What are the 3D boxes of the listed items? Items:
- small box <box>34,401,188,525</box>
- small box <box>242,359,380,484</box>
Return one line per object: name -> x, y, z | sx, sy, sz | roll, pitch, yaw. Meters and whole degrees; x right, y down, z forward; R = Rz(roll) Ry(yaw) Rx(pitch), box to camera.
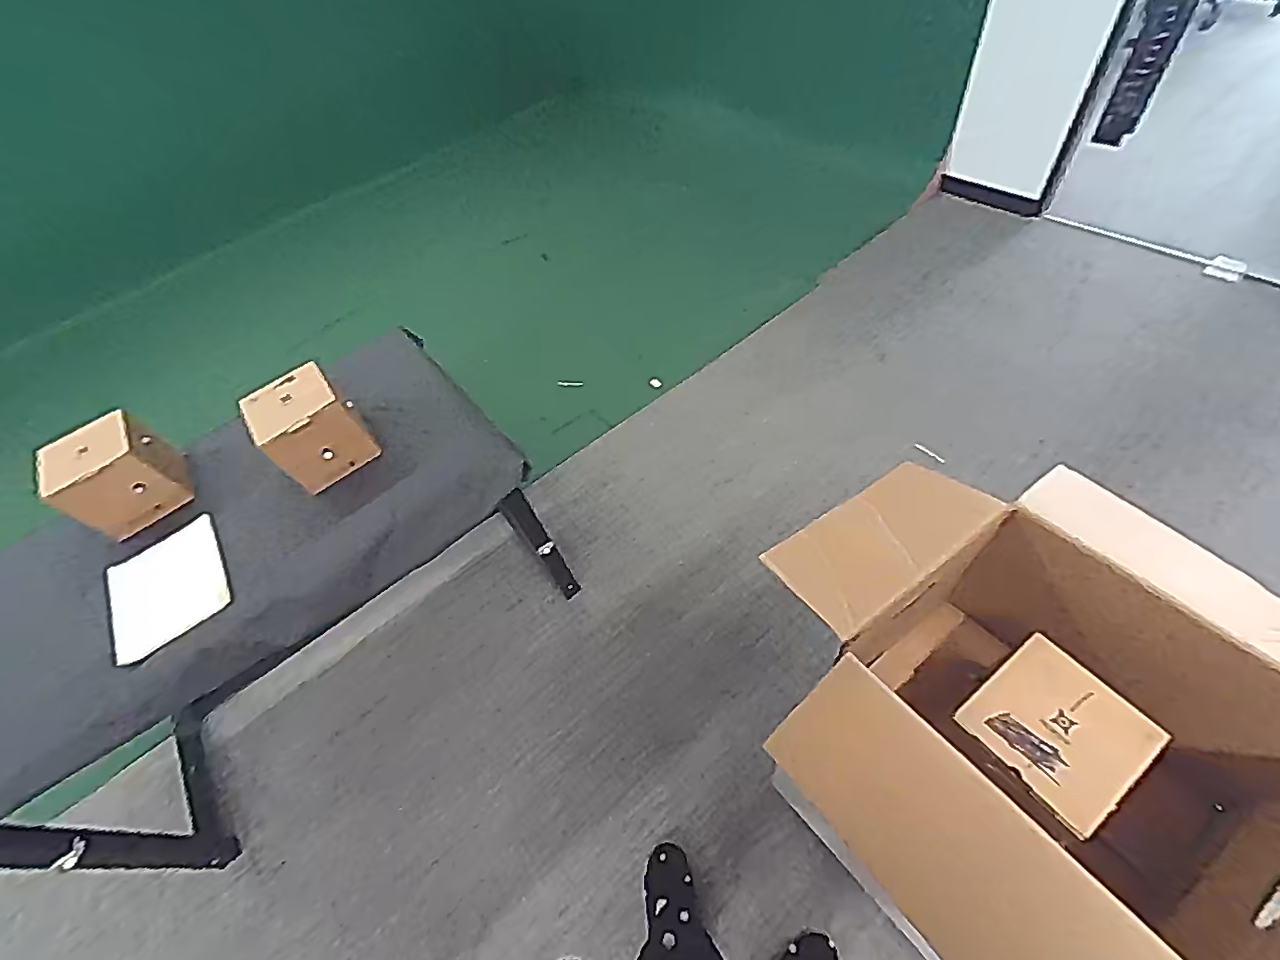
small box -> -1.113, -0.028, 1.149 | 0.168, 0.176, 0.179 | -37, 56, -16
small box -> -0.689, -0.116, 1.148 | 0.168, 0.176, 0.179 | -36, 57, -15
